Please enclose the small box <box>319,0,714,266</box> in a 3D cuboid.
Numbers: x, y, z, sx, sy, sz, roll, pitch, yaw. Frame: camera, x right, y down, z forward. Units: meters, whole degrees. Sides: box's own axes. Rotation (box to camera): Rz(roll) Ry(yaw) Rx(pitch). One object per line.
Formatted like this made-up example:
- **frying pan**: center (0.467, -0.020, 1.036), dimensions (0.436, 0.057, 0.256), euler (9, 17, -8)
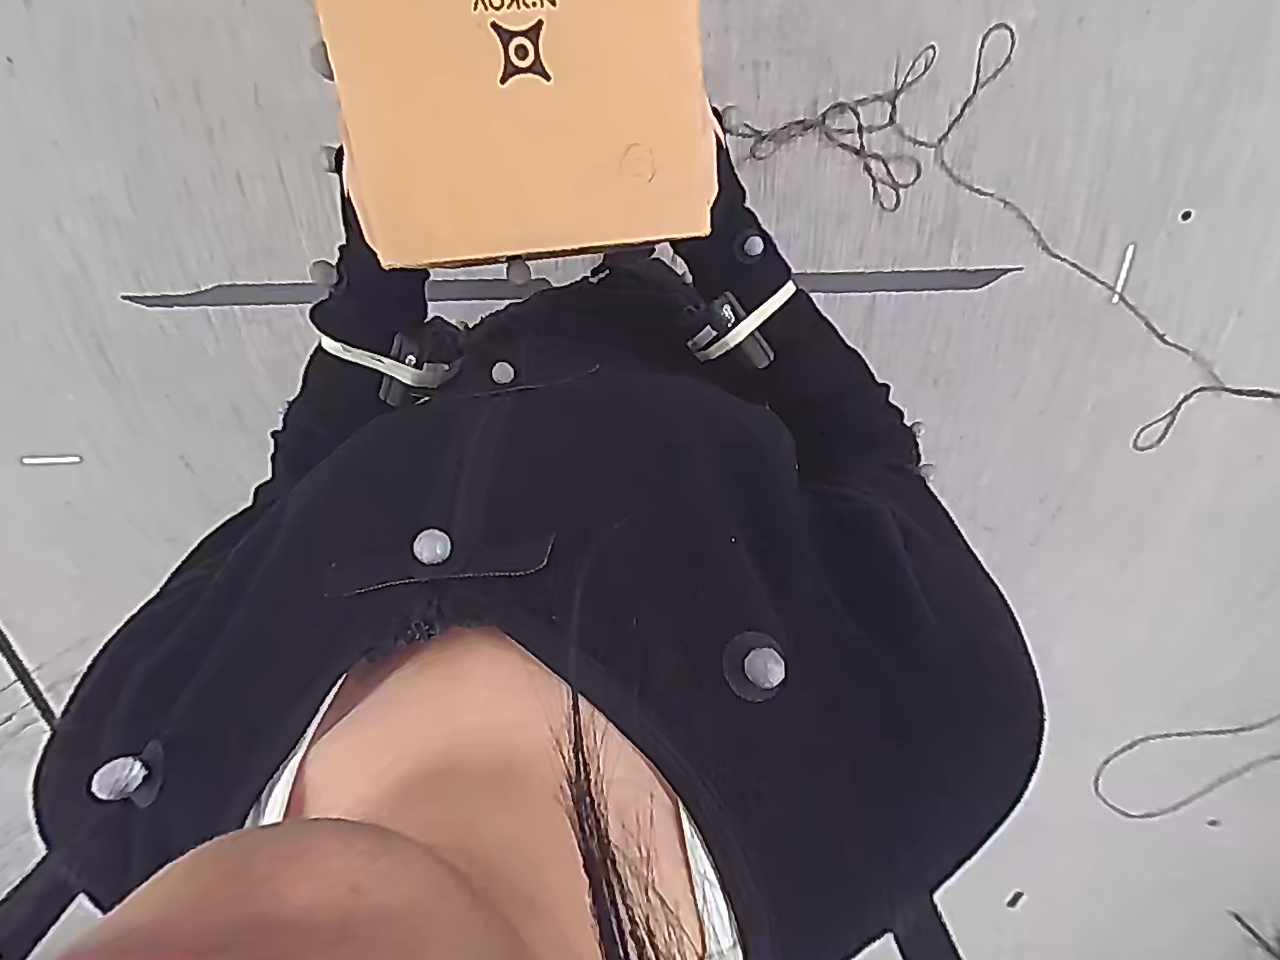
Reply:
- **small box**: center (-0.060, -0.223, 0.308), dimensions (0.168, 0.176, 0.179), euler (-9, 111, -5)
